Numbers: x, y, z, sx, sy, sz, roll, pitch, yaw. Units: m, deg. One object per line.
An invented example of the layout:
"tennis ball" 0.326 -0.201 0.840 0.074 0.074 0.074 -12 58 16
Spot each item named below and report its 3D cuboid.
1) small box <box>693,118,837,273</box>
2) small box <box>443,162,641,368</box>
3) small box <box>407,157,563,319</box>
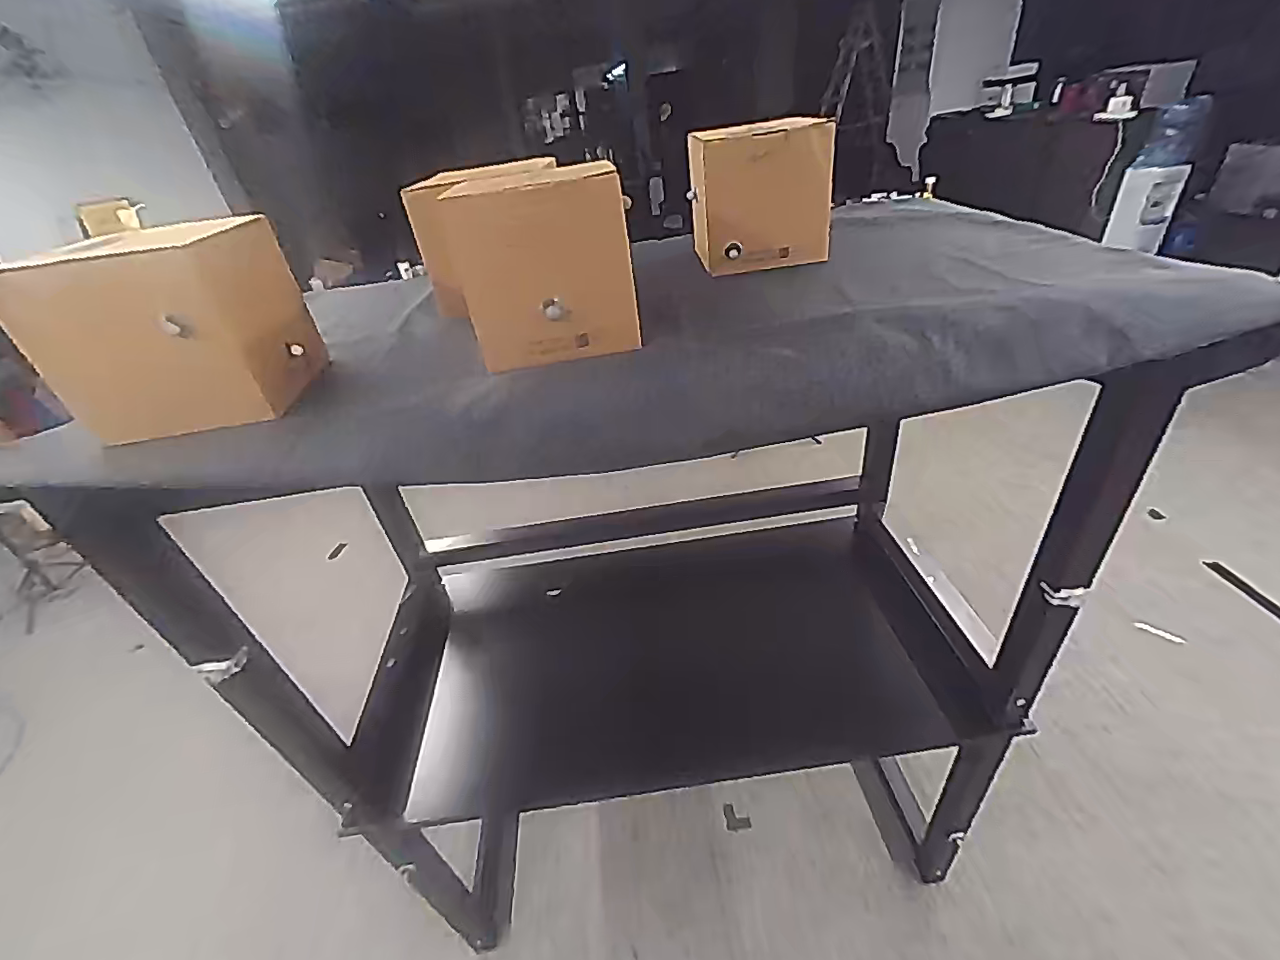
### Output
"small box" 0.171 -0.405 0.777 0.168 0.176 0.179 -6 34 3
"small box" -0.094 -0.238 0.592 0.168 0.176 0.179 -9 34 -1
"small box" -0.190 -0.342 0.764 0.179 0.176 0.168 -6 35 4
